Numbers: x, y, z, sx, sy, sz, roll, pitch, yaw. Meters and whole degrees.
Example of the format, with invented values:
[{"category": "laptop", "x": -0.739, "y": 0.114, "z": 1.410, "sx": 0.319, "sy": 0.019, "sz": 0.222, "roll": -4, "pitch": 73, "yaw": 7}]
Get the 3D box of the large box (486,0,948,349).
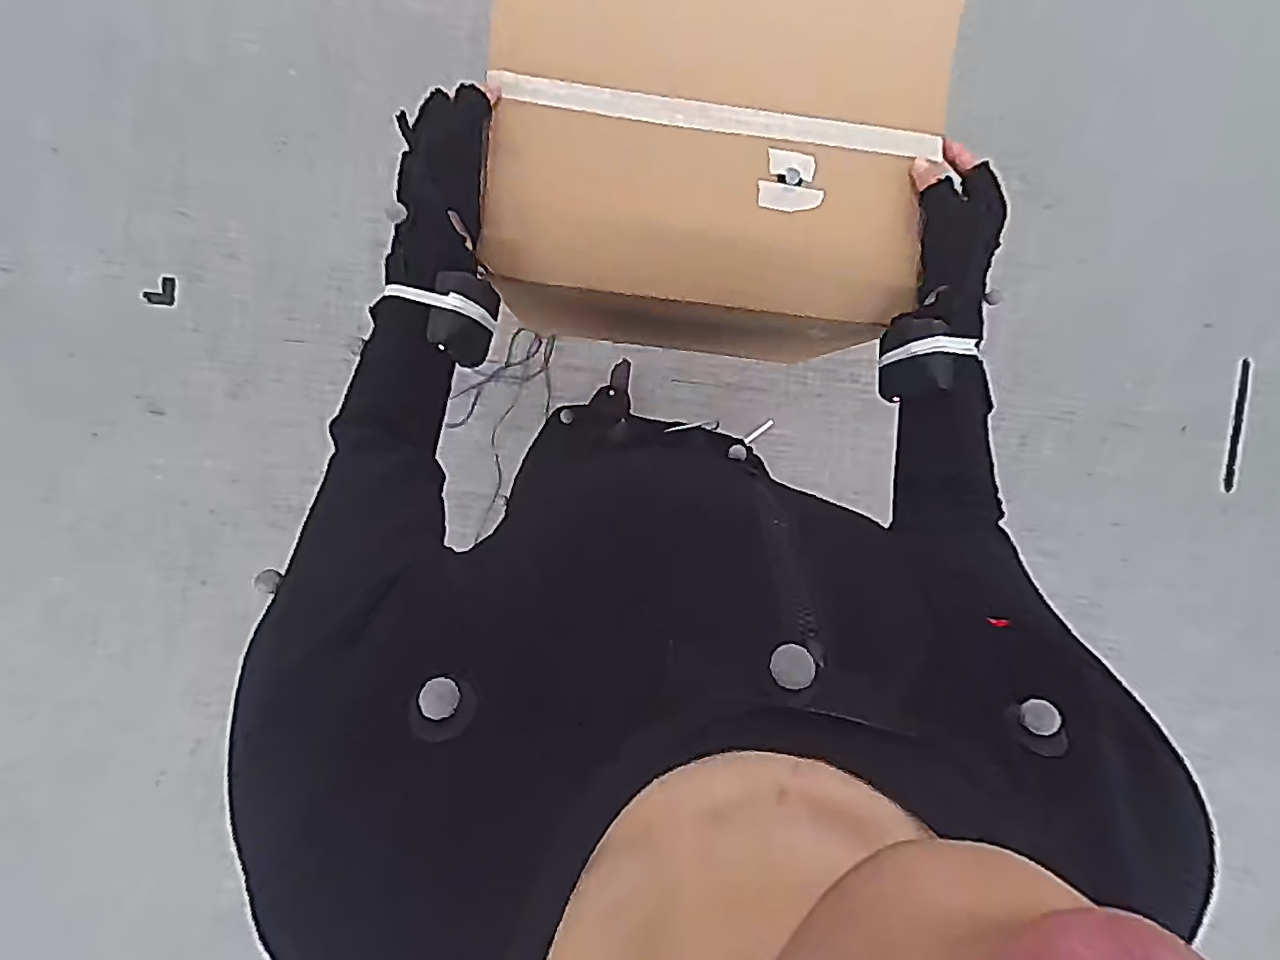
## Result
[{"category": "large box", "x": 0.058, "y": -0.345, "z": 0.634, "sx": 0.408, "sy": 0.320, "sz": 0.320, "roll": 6, "pitch": 98, "yaw": -5}]
